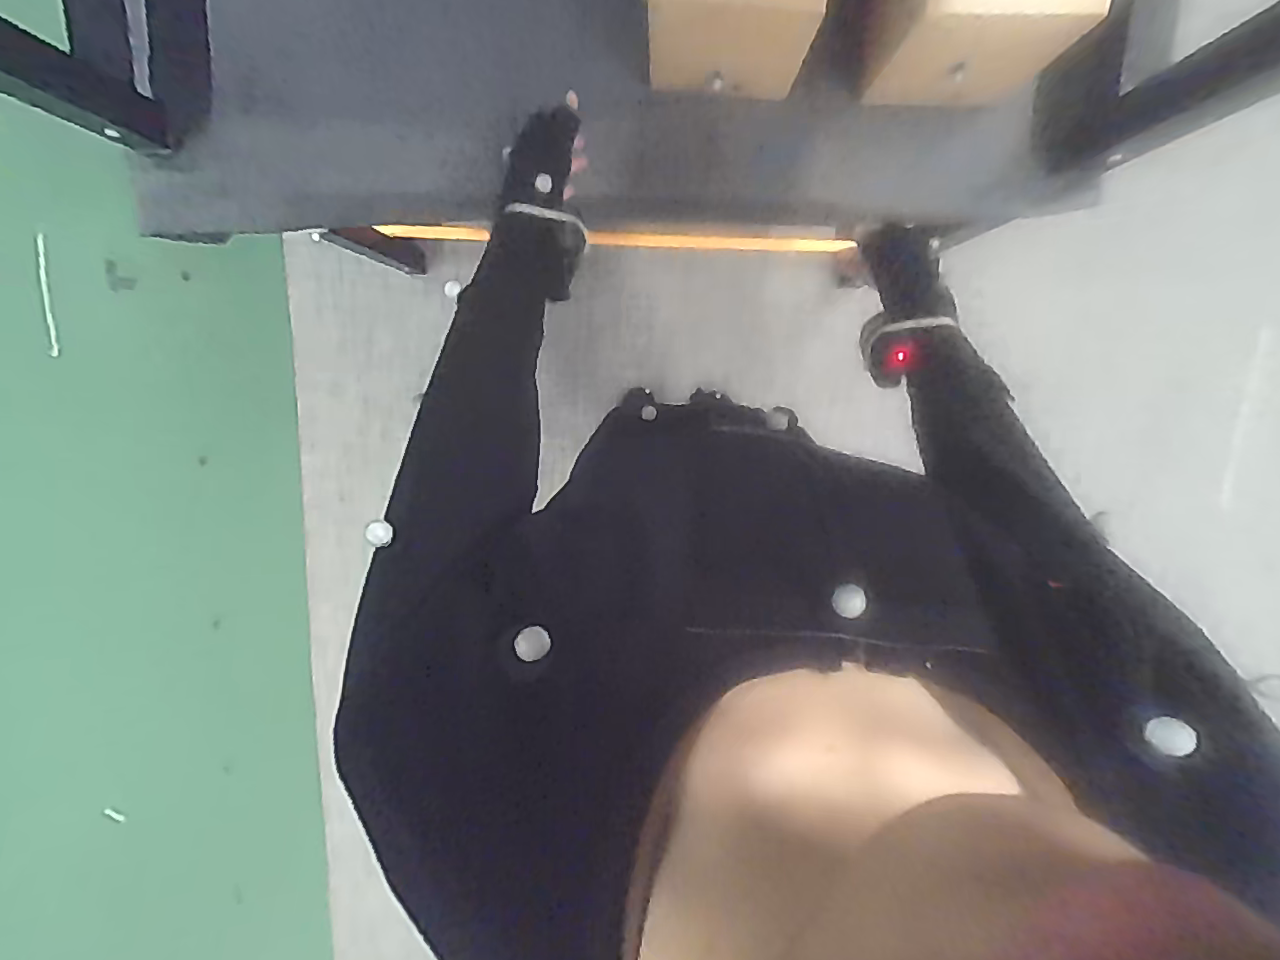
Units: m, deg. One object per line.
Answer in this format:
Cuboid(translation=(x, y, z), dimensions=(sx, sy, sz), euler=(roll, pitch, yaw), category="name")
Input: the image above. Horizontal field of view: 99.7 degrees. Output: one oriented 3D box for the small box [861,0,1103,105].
Cuboid(translation=(0.343, -0.520, 0.558), dimensions=(0.168, 0.176, 0.179), euler=(2, 100, 1), category="small box")
